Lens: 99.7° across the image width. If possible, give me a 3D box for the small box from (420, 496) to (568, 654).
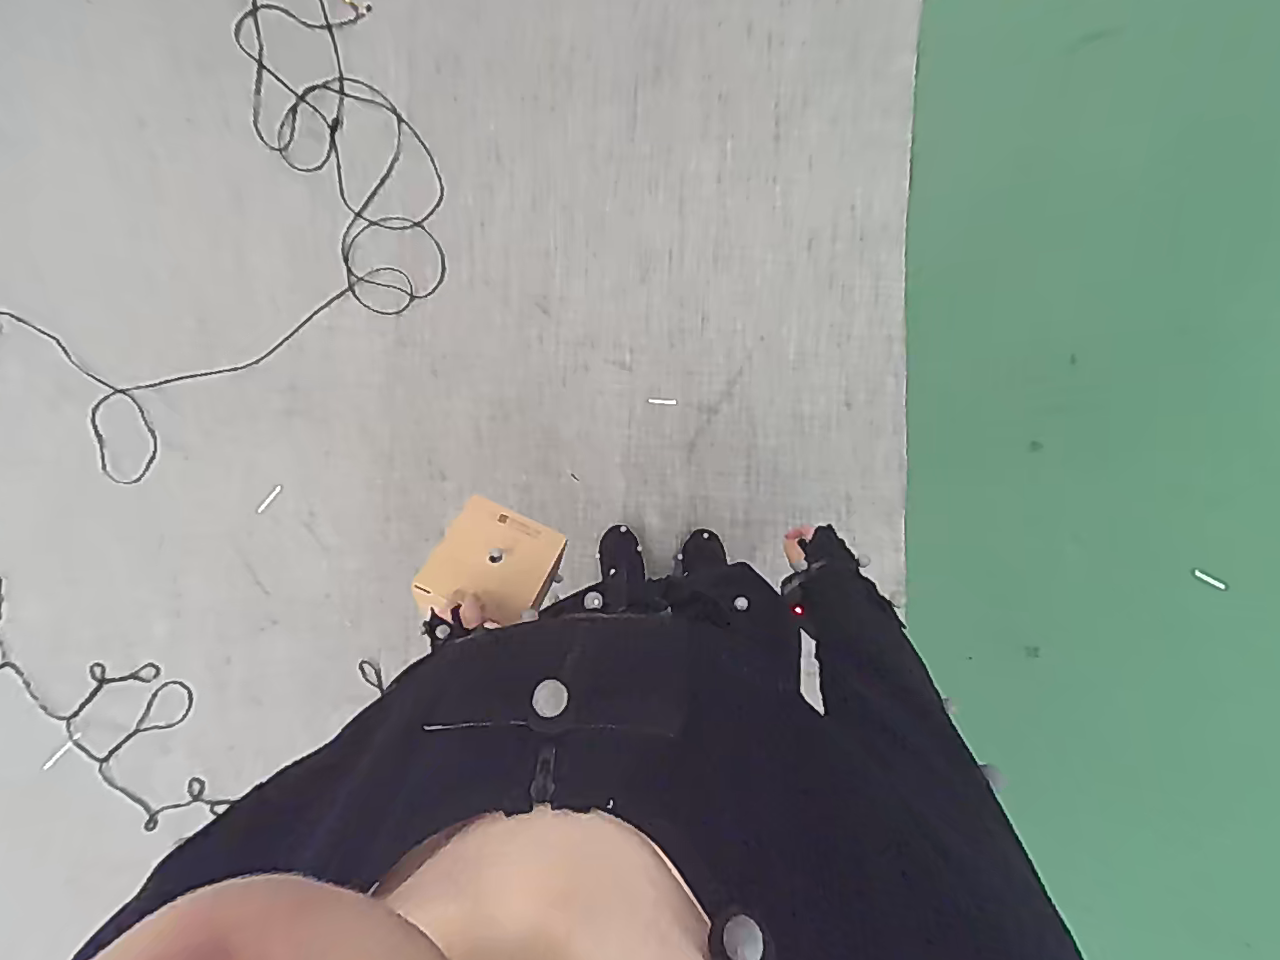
[{"bbox_3d":[-0.229,0.153,0.875,0.168,0.179,0.176,25,57,0],"label":"small box"}]
